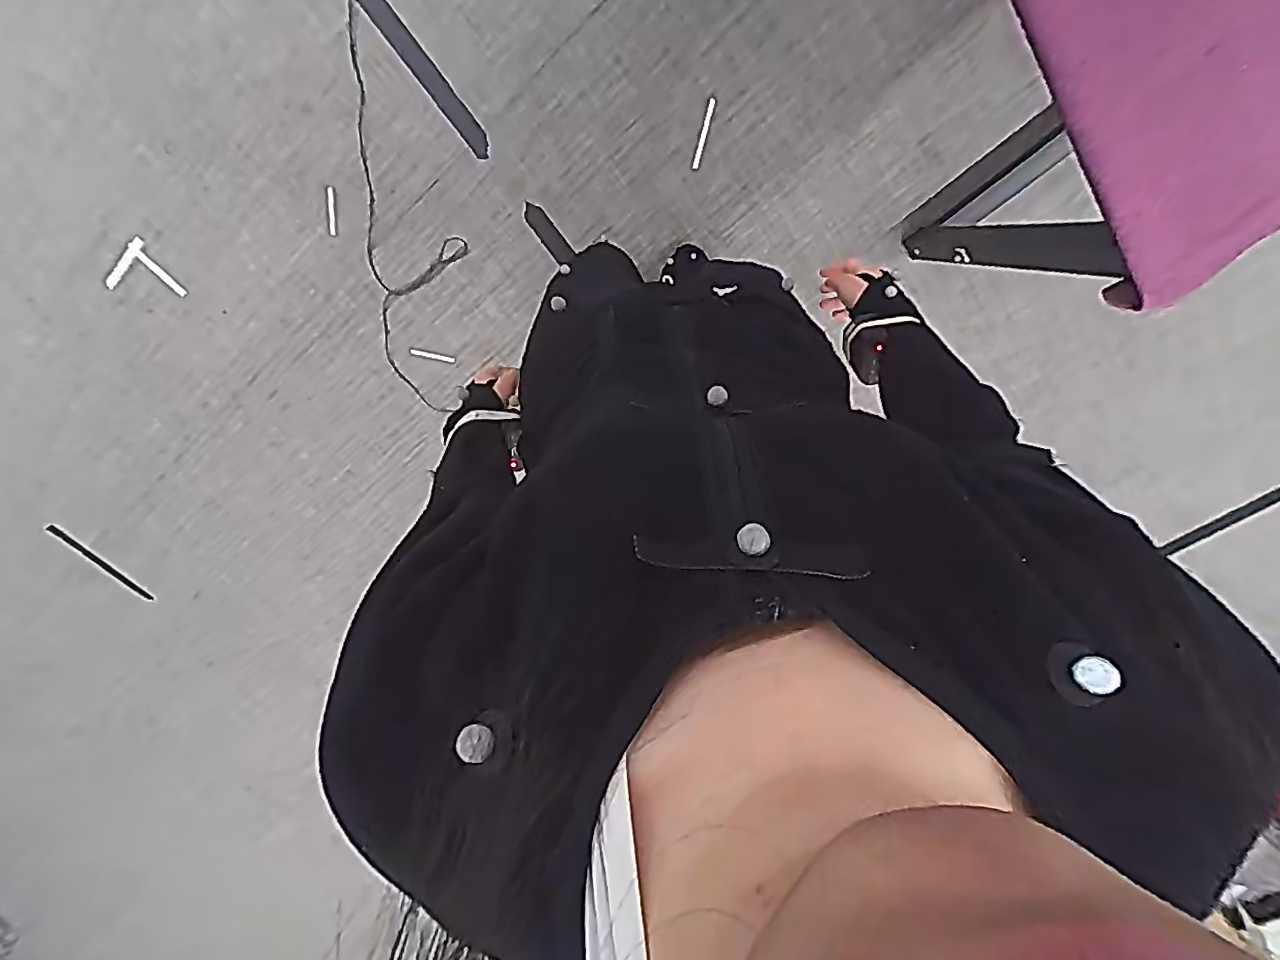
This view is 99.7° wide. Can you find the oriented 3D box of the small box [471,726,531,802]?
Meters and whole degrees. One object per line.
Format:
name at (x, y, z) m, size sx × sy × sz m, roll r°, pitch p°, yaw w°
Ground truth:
small box at (-0.508, 1.043, 1.994) m, size 0.168 × 0.176 × 0.179 m, roll 14°, pitch 116°, yaw -3°
